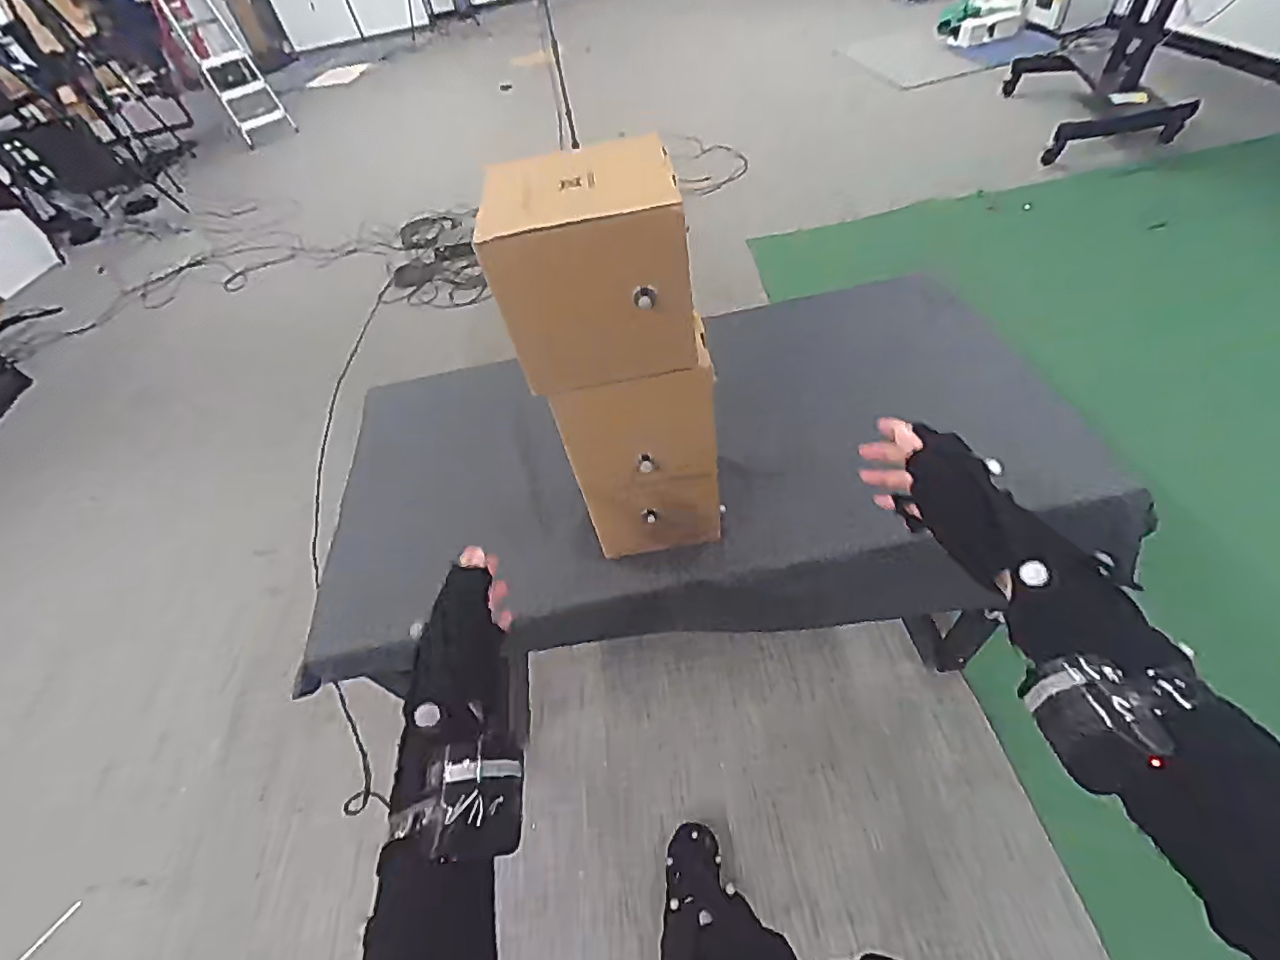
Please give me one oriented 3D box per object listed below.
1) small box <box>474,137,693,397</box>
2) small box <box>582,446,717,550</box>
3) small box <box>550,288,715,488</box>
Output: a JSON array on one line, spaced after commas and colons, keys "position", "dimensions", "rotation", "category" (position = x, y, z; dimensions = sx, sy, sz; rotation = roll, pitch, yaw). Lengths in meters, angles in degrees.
[{"position": [-0.045, -0.209, 0.547], "dimensions": [0.179, 0.176, 0.168], "rotation": [-11, 49, 4], "category": "small box"}, {"position": [0.017, -0.015, 0.799], "dimensions": [0.179, 0.176, 0.168], "rotation": [-8, 49, 4], "category": "small box"}, {"position": [-0.006, -0.111, 0.672], "dimensions": [0.179, 0.176, 0.168], "rotation": [-10, 50, 3], "category": "small box"}]
